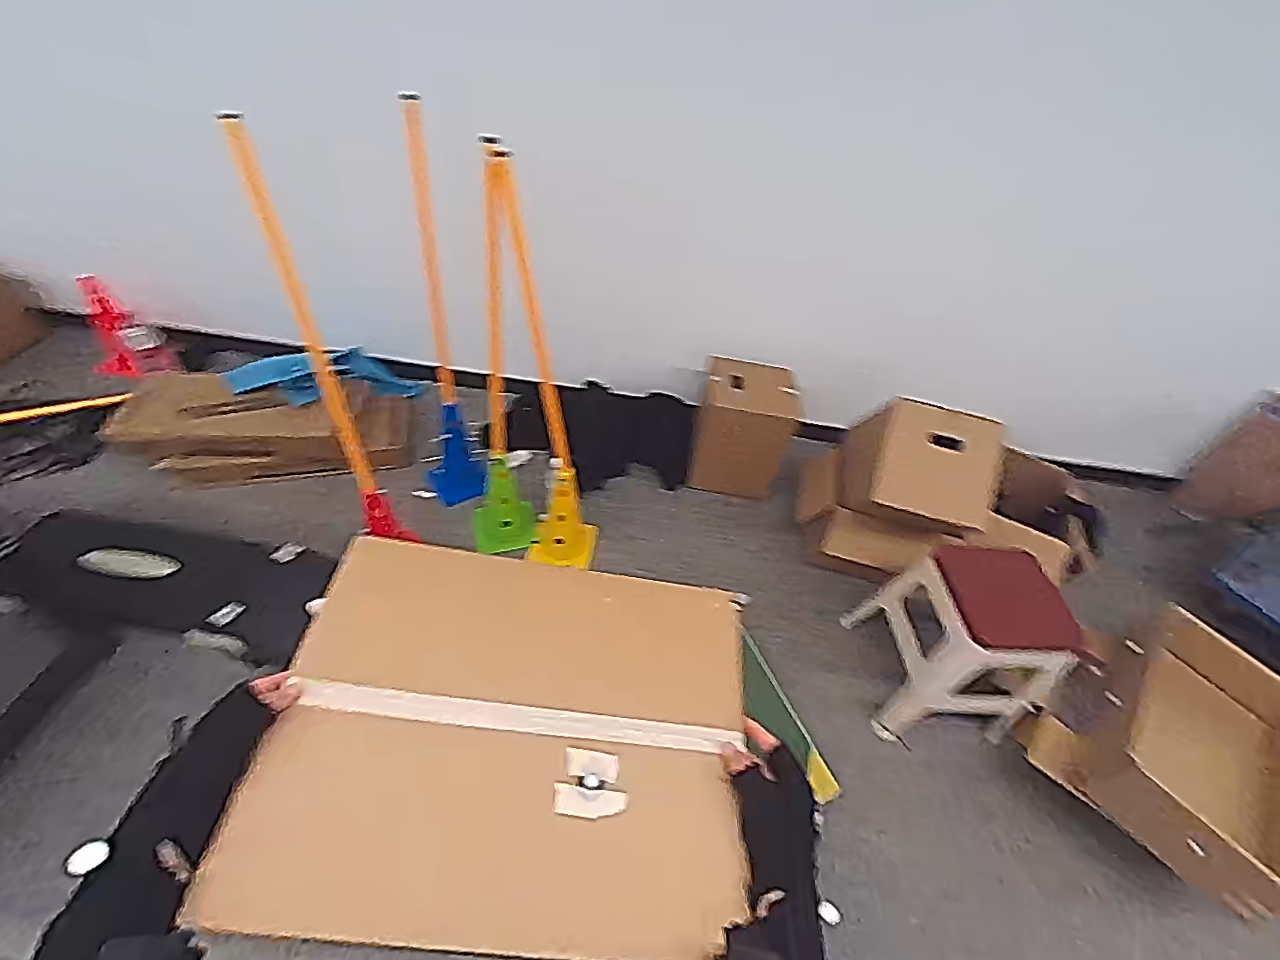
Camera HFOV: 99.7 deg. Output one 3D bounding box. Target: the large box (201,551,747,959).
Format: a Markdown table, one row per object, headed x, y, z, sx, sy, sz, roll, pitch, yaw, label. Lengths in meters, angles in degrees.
| x | y | z | sx | sy | sz | roll | pitch | yaw | label |
| --- | --- | --- | --- | --- | --- | --- | --- | --- | --- |
| -0.134 | 0.313 | 0.601 | 0.408 | 0.320 | 0.320 | 10 | 51 | -7 | large box |
